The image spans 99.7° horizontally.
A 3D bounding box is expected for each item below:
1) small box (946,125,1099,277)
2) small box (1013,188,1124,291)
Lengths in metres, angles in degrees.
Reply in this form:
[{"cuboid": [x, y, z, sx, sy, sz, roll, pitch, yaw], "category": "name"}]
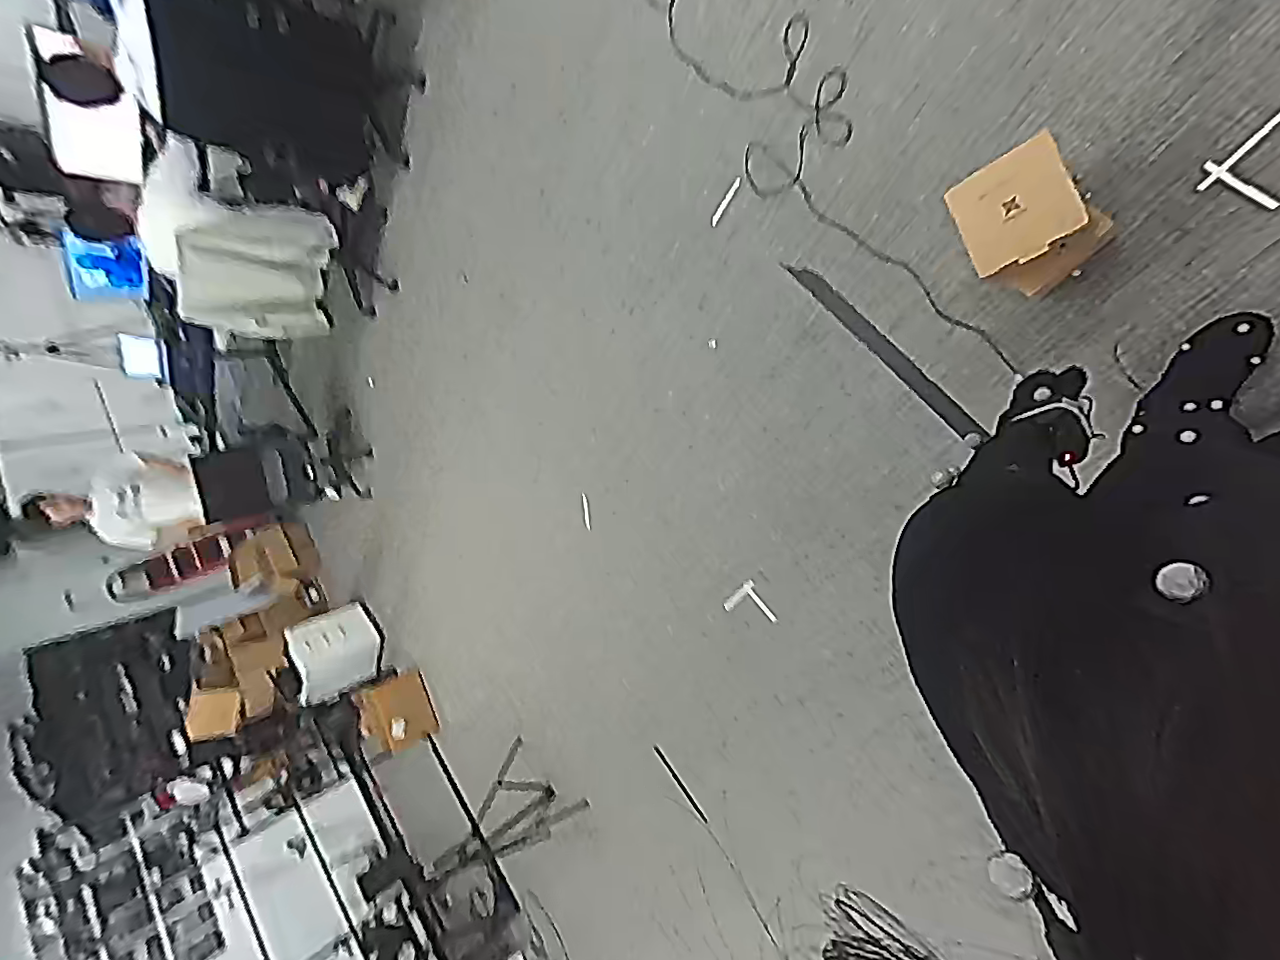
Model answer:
[{"cuboid": [0.688, -0.483, 0.968, 0.168, 0.176, 0.179, -26, 83, 43], "category": "small box"}, {"cuboid": [0.811, -0.493, 1.078, 0.179, 0.176, 0.168, 53, 132, 17], "category": "small box"}]
